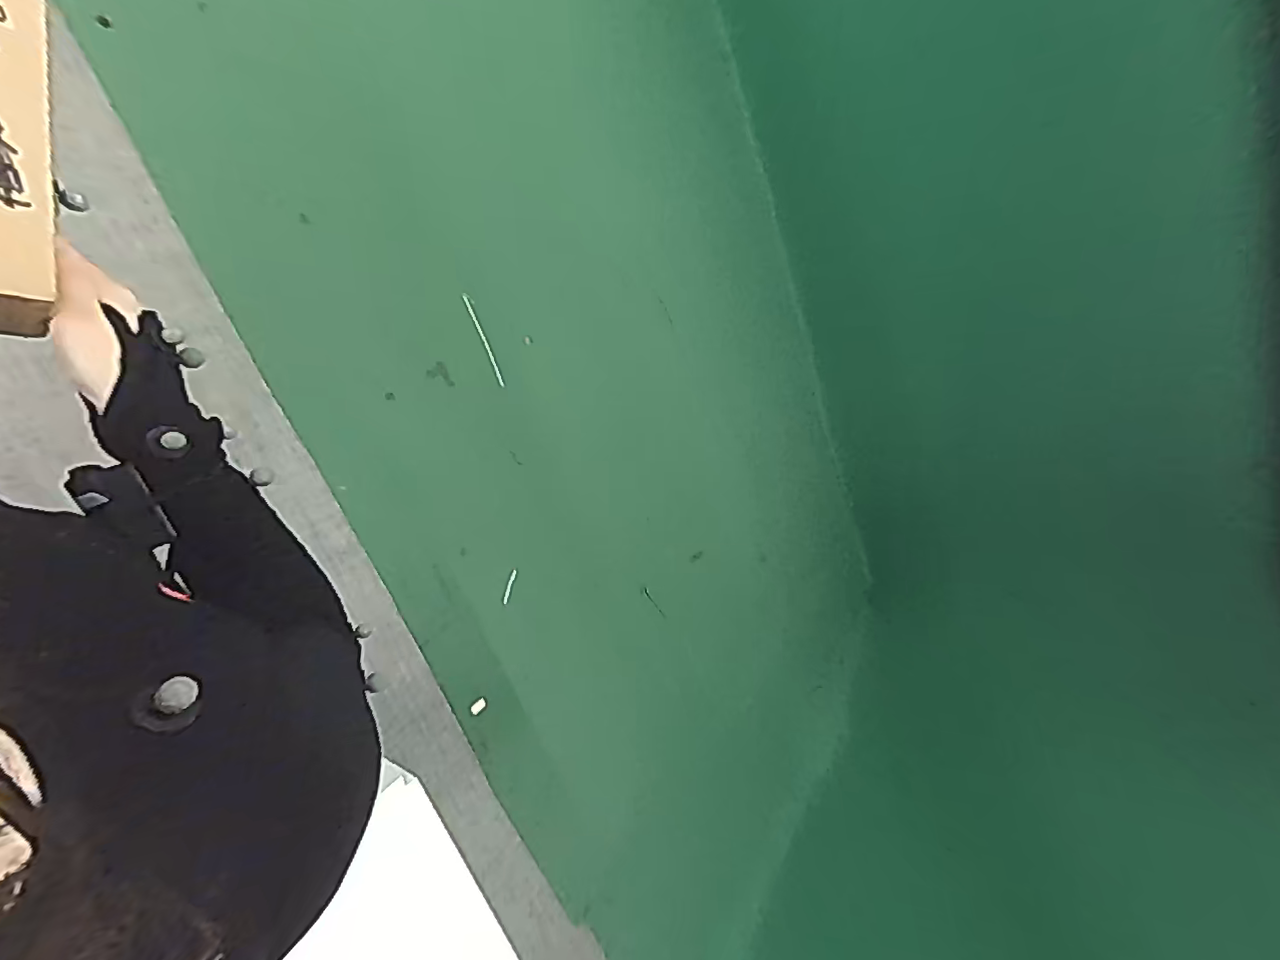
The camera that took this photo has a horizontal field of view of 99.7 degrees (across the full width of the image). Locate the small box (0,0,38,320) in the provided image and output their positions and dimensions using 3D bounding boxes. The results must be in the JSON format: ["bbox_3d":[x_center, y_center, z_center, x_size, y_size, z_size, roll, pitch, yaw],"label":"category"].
[{"bbox_3d":[-0.439,-0.185,0.273,0.179,0.176,0.168,-3,96,-49],"label":"small box"}]
